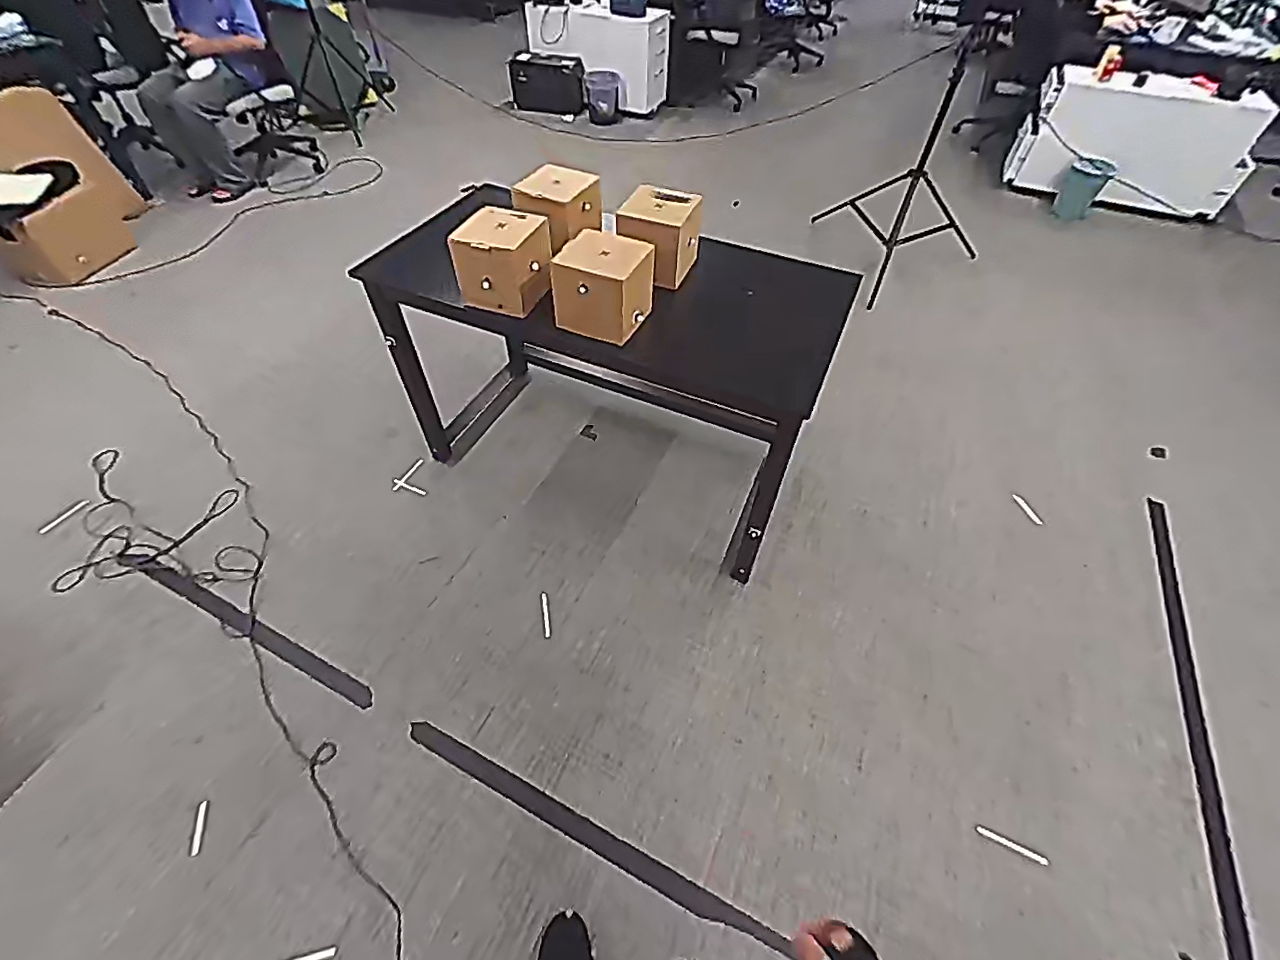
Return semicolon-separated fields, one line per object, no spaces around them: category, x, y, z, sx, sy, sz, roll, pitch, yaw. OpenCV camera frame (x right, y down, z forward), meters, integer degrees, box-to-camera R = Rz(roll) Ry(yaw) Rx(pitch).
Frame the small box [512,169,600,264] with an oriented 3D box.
small box;-0.219;-0.699;1.449;0.168;0.176;0.179;21;53;15

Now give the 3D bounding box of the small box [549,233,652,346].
small box;-0.085;-0.430;1.229;0.179;0.176;0.168;20;53;13

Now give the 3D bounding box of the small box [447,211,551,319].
small box;-0.323;-0.509;1.287;0.168;0.176;0.179;15;52;11
